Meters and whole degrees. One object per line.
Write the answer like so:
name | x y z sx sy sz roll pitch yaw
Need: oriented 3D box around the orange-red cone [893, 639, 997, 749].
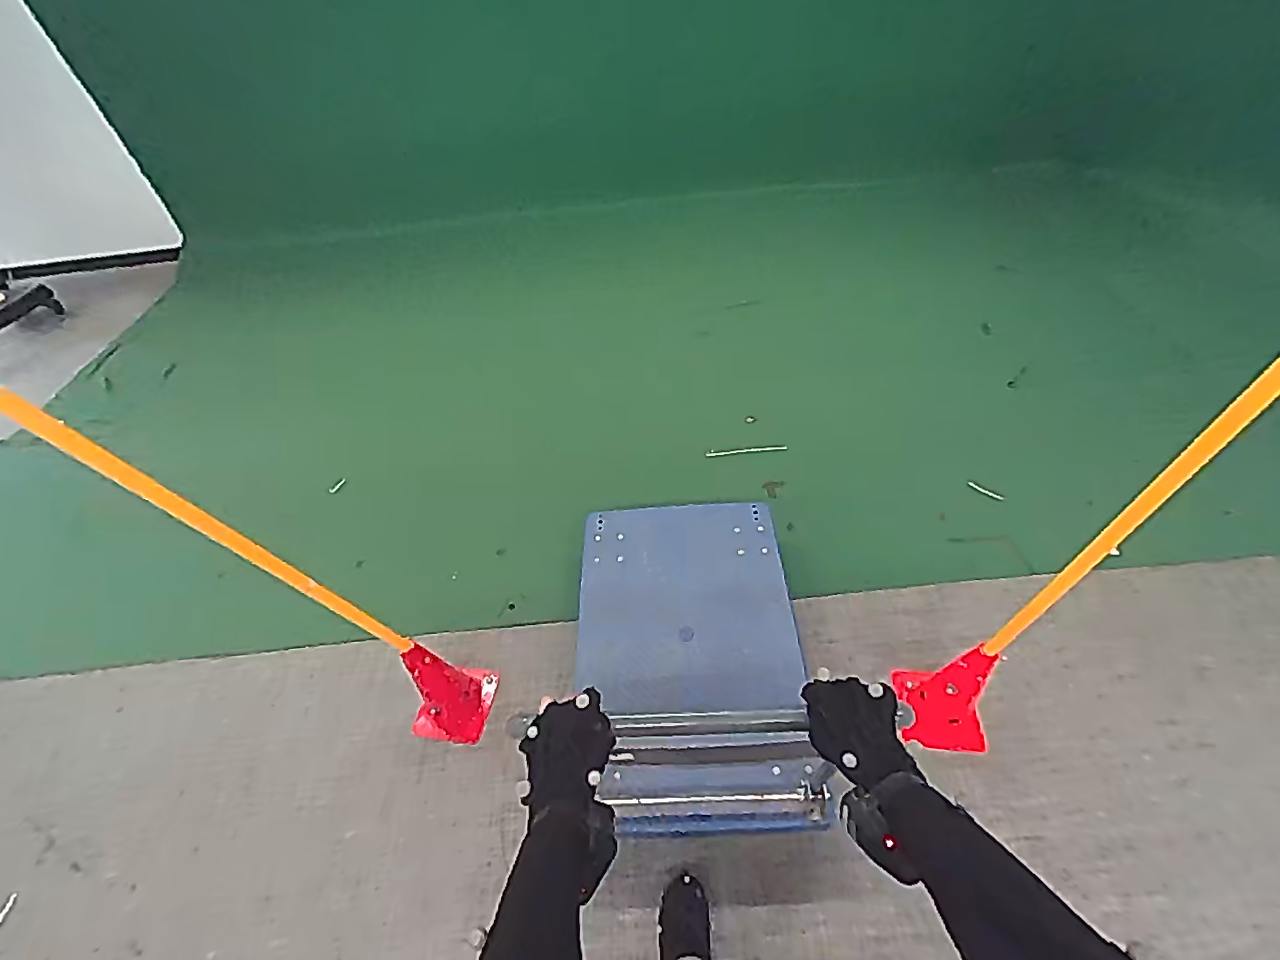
orange-red cone | 0.756 0.474 1.277 0.198 0.360 0.199 2 49 9
